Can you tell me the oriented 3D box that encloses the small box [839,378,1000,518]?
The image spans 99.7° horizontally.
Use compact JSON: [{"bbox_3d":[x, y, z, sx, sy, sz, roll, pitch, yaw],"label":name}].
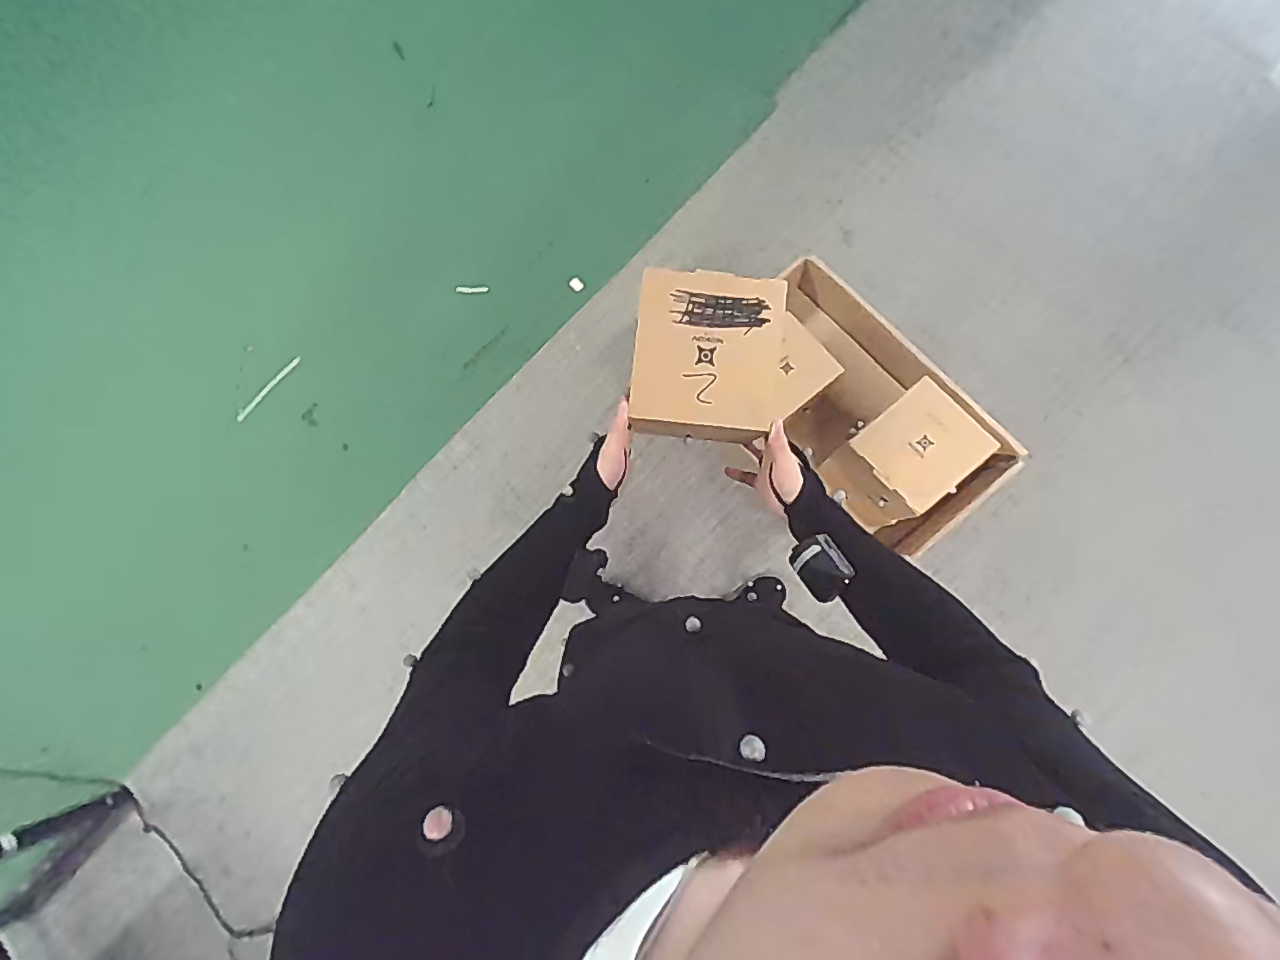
[{"bbox_3d":[0.479,-0.045,0.966,0.179,0.176,0.168,-41,80,1],"label":"small box"}]
